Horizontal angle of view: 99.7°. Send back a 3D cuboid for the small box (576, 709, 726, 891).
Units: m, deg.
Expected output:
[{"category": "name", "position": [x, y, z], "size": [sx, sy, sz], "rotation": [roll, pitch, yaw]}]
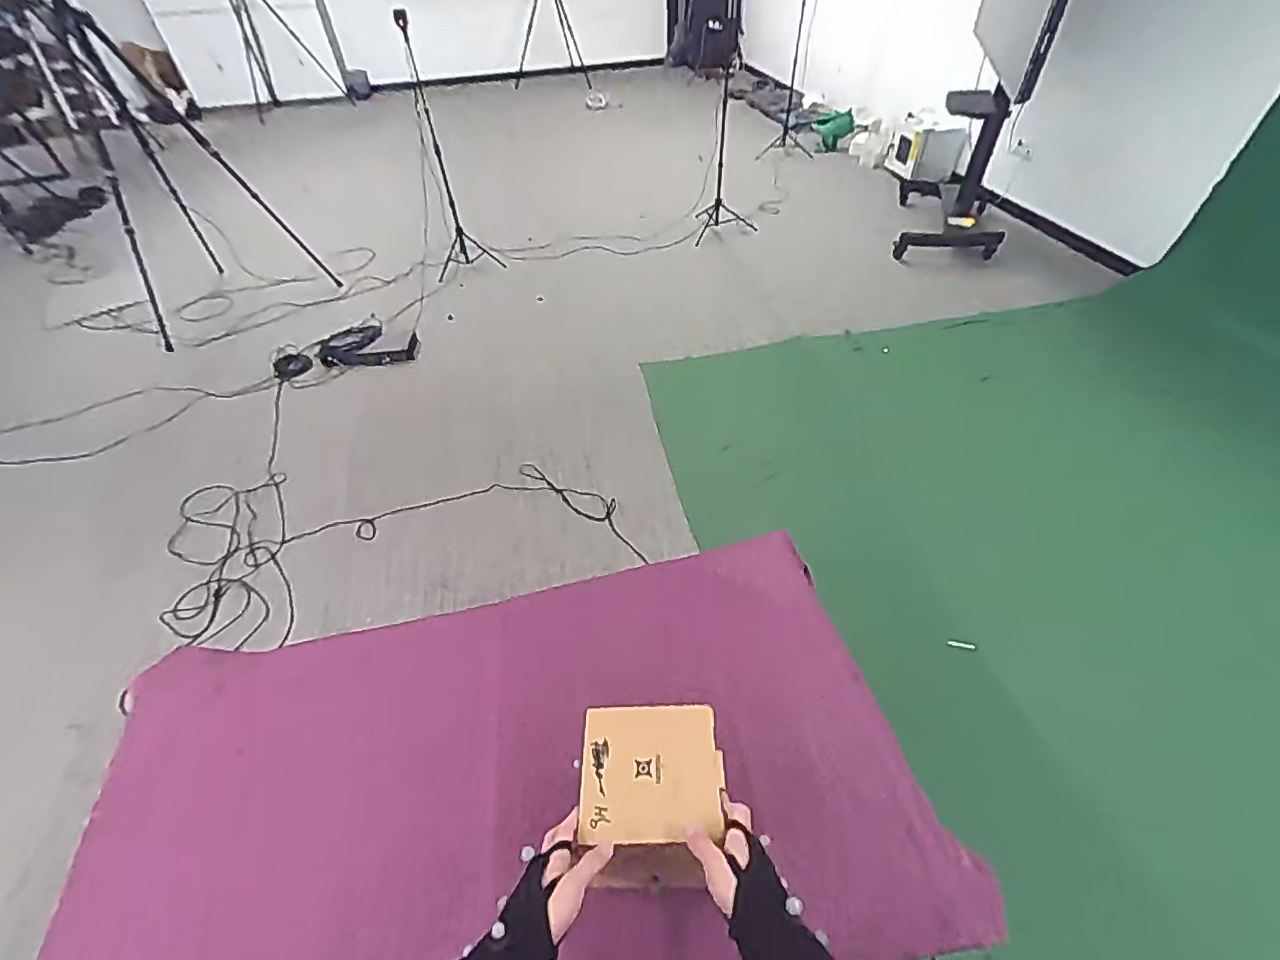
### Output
[{"category": "small box", "position": [0.016, 0.432, 0.732], "size": [0.179, 0.176, 0.168], "rotation": [-1, 38, 2]}]
